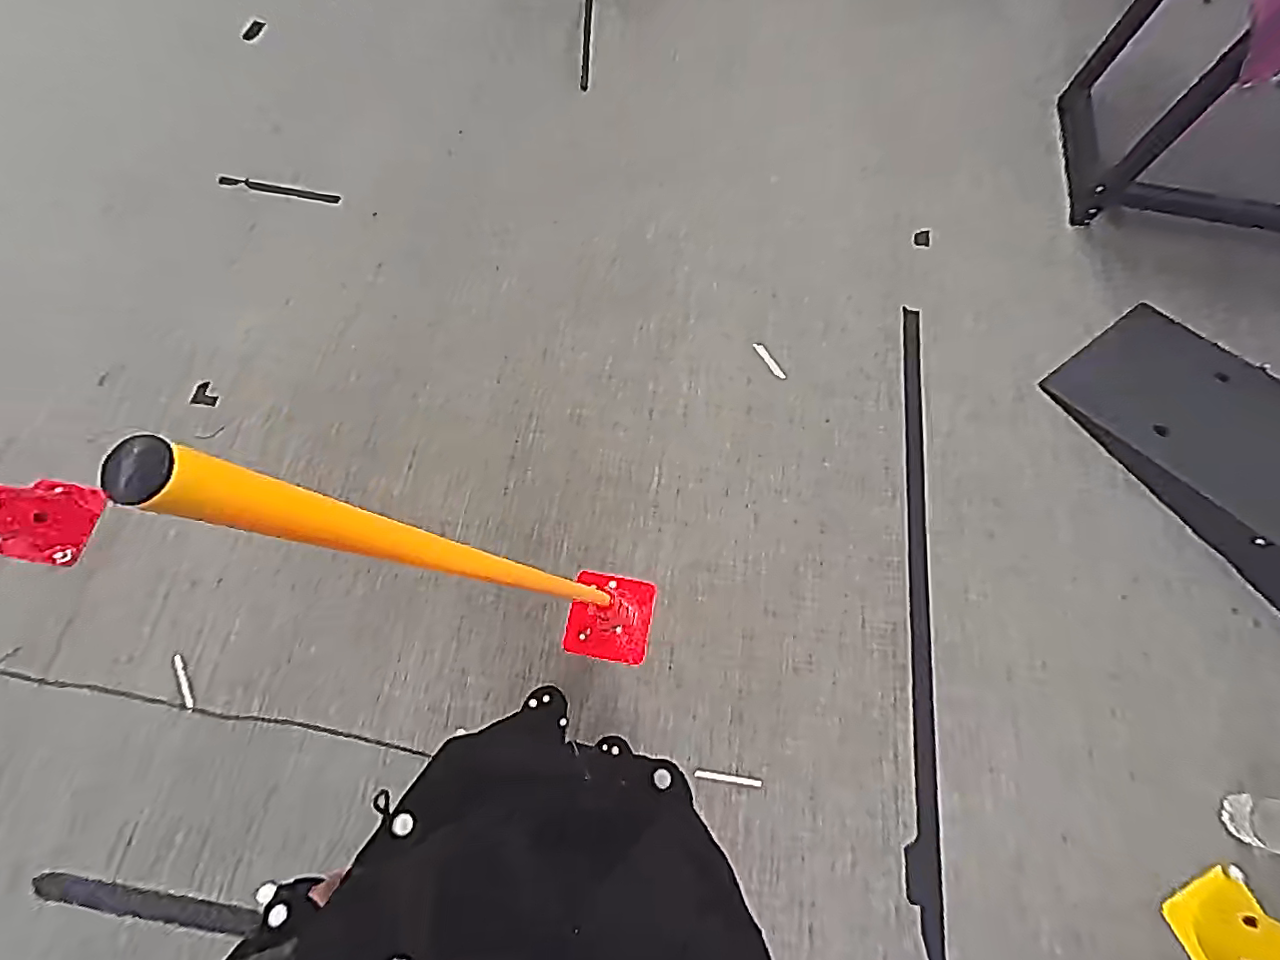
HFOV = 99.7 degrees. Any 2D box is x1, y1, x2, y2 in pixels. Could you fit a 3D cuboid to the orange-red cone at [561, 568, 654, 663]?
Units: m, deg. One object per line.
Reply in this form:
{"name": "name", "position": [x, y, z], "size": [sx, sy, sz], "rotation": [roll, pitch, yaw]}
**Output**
{"name": "orange-red cone", "position": [-0.072, 0.268, 1.139], "size": [0.199, 0.360, 0.198], "rotation": [12, 72, 2]}
